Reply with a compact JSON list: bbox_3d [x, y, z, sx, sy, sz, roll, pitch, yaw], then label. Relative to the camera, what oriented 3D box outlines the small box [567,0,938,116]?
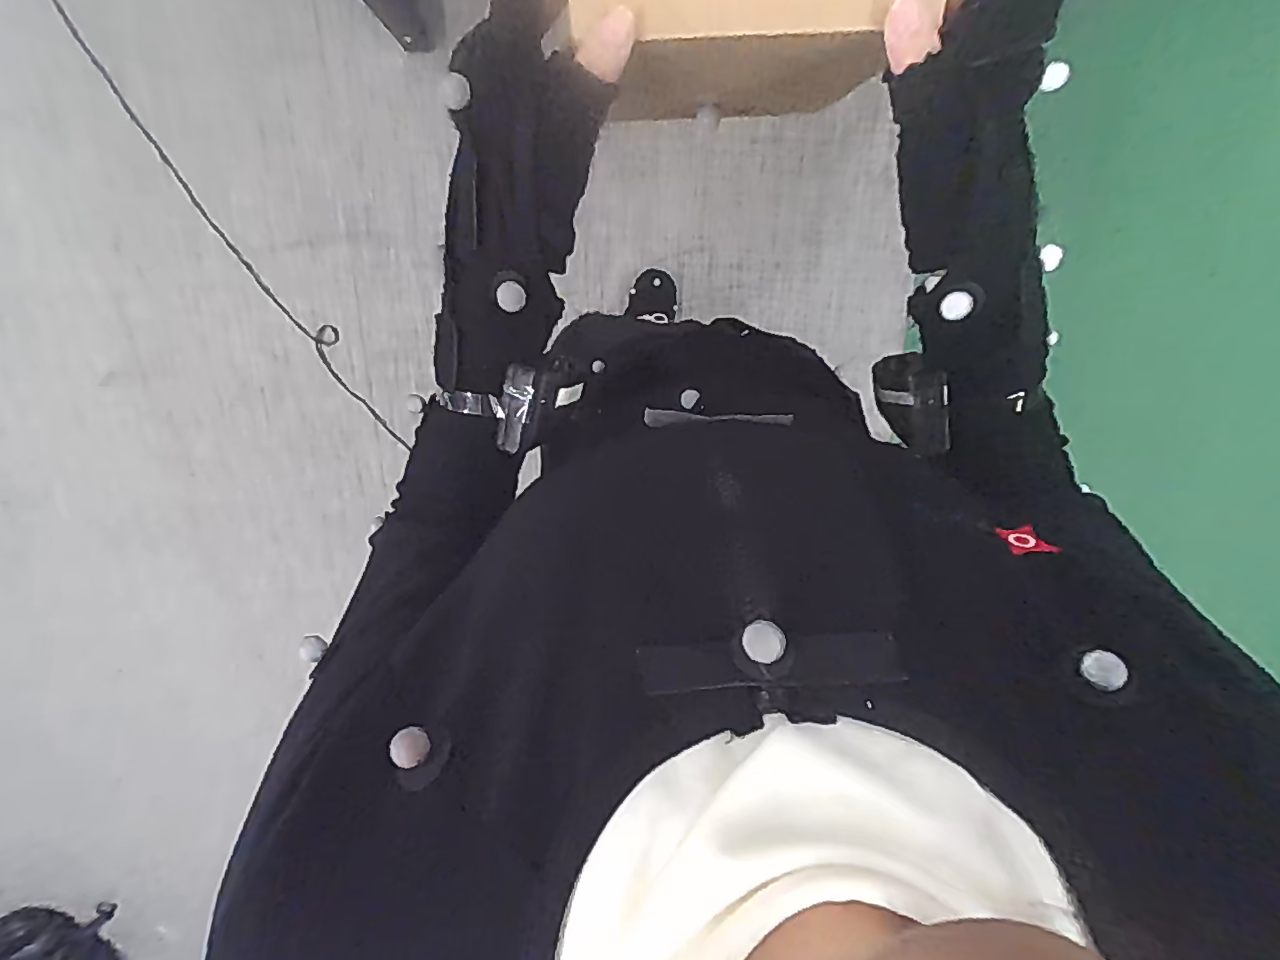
[{"bbox_3d":[0.046,-0.312,0.279,0.168,0.176,0.179,-2,113,1],"label":"small box"}]
